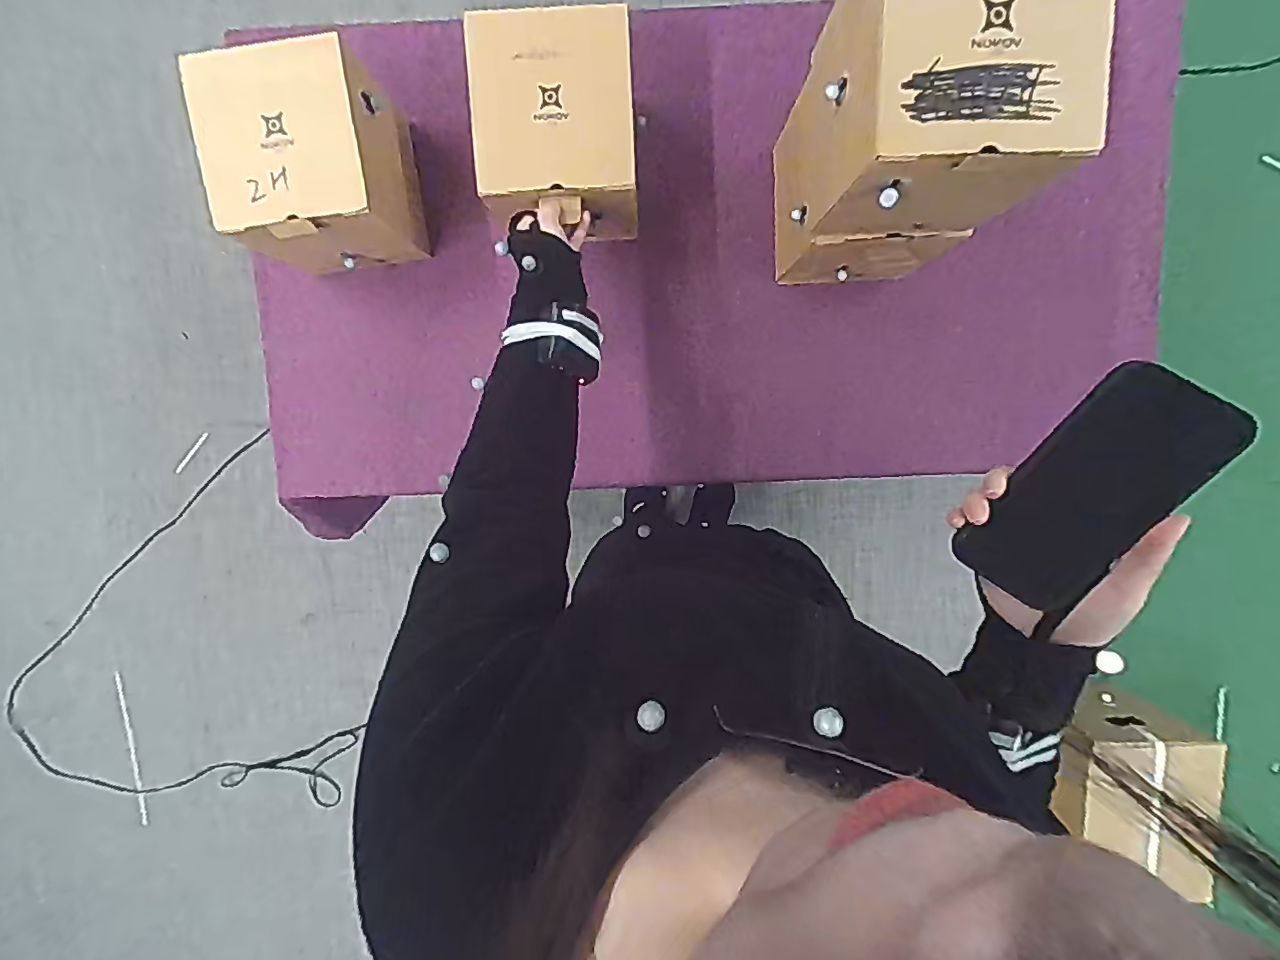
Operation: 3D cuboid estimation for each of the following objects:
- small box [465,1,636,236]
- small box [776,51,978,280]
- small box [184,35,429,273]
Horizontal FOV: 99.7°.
[{"bbox_3d":[-0.090,-0.395,0.625,0.168,0.176,0.179,-2,96,0],"label":"small box"},{"bbox_3d":[0.258,-0.346,0.626,0.168,0.176,0.179,-3,97,1],"label":"small box"},{"bbox_3d":[-0.369,-0.362,0.632,0.168,0.176,0.179,-7,97,2],"label":"small box"}]
